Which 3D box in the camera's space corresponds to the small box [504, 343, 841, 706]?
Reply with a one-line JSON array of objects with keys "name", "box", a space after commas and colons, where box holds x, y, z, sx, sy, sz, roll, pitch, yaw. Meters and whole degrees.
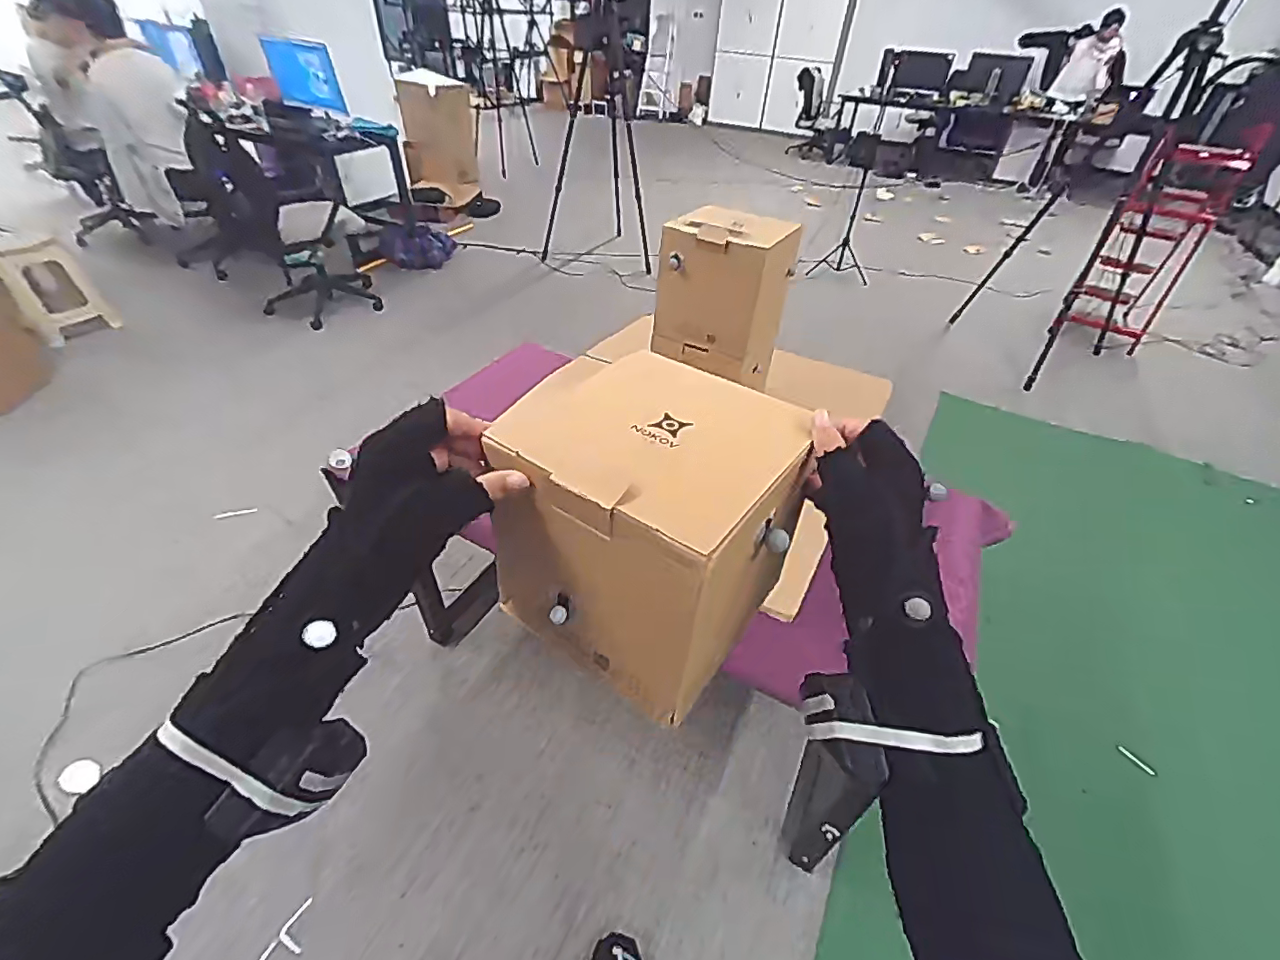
[{"name": "small box", "box": [0.020, 0.023, 0.406, 0.168, 0.176, 0.179, 27, 43, 25]}]

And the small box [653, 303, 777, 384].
[{"name": "small box", "box": [0.128, -0.191, 0.969, 0.168, 0.176, 0.179, 21, 44, 18]}]
